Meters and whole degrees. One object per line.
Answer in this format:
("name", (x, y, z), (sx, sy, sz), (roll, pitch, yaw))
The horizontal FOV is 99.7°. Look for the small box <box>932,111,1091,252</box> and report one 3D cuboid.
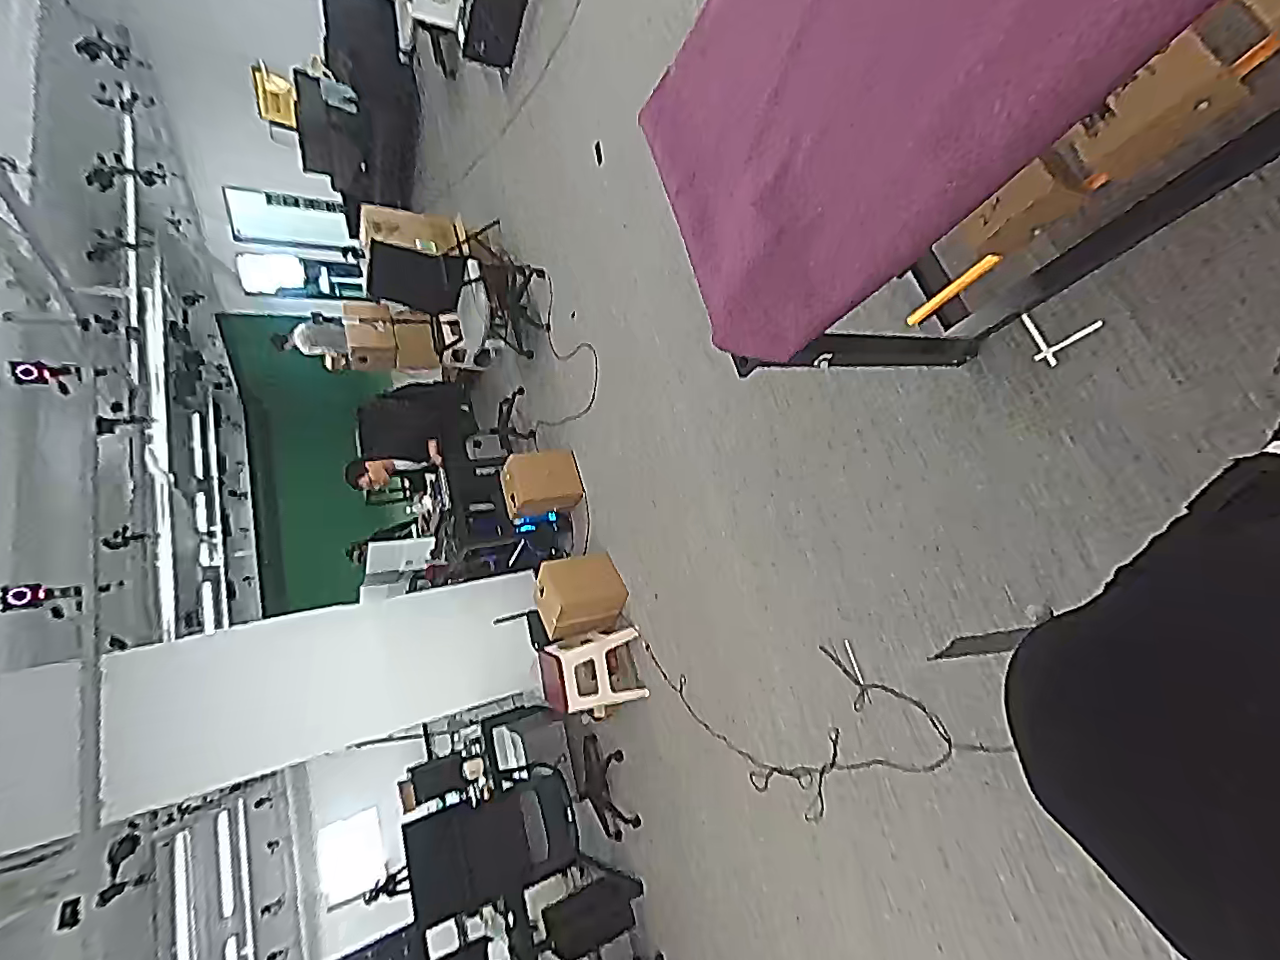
("small box", (0.729, -0.574, 1.065), (0.168, 0.176, 0.179), (-42, 64, 54))
